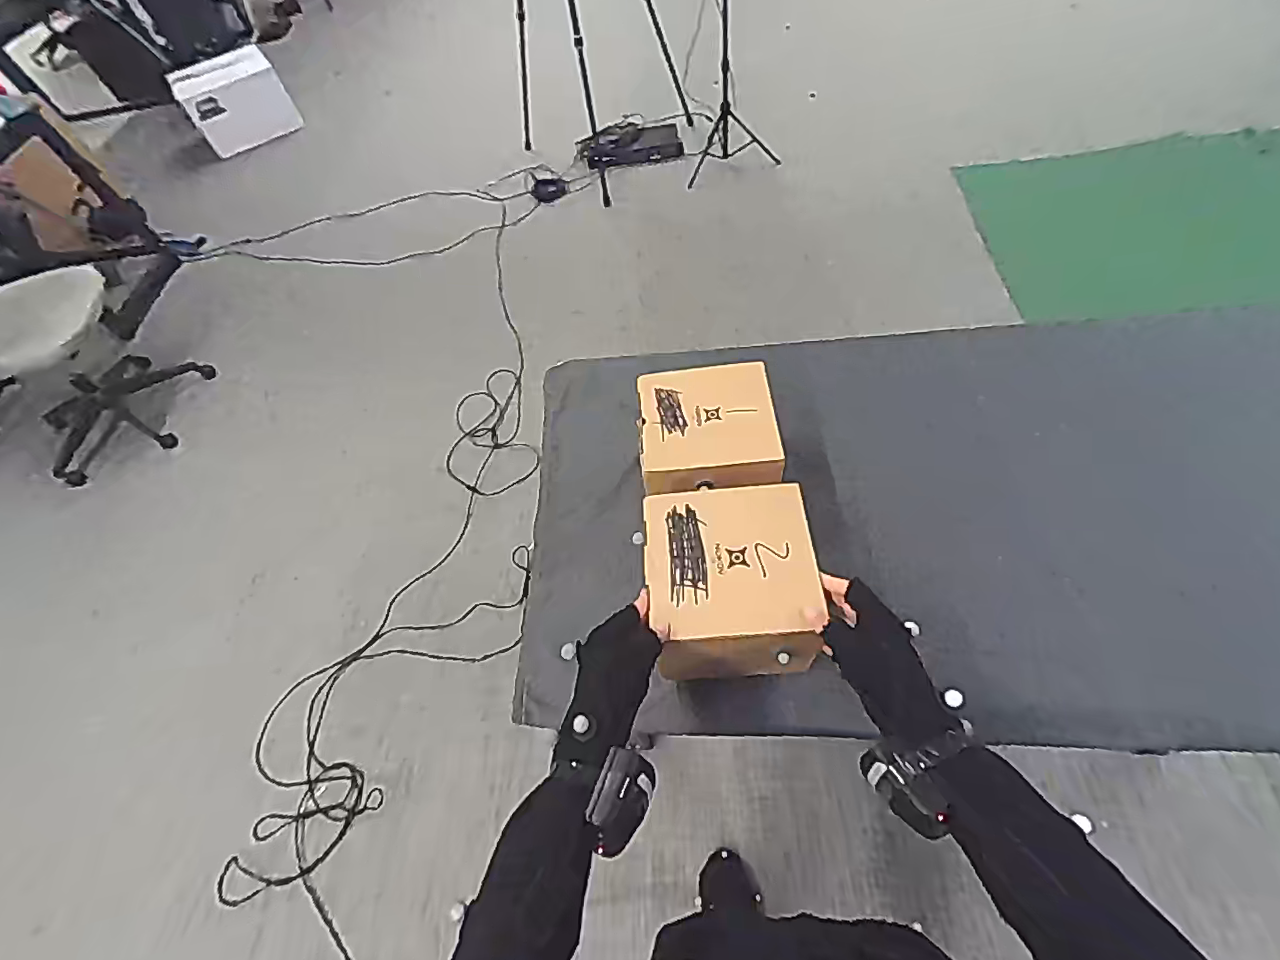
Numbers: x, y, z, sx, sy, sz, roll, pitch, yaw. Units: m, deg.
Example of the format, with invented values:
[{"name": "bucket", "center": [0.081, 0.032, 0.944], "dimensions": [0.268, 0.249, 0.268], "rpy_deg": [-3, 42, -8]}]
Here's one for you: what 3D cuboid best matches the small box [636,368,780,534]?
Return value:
[{"name": "small box", "center": [0.093, -0.034, 0.768], "dimensions": [0.179, 0.176, 0.168], "rpy_deg": [-6, 57, 5]}]
